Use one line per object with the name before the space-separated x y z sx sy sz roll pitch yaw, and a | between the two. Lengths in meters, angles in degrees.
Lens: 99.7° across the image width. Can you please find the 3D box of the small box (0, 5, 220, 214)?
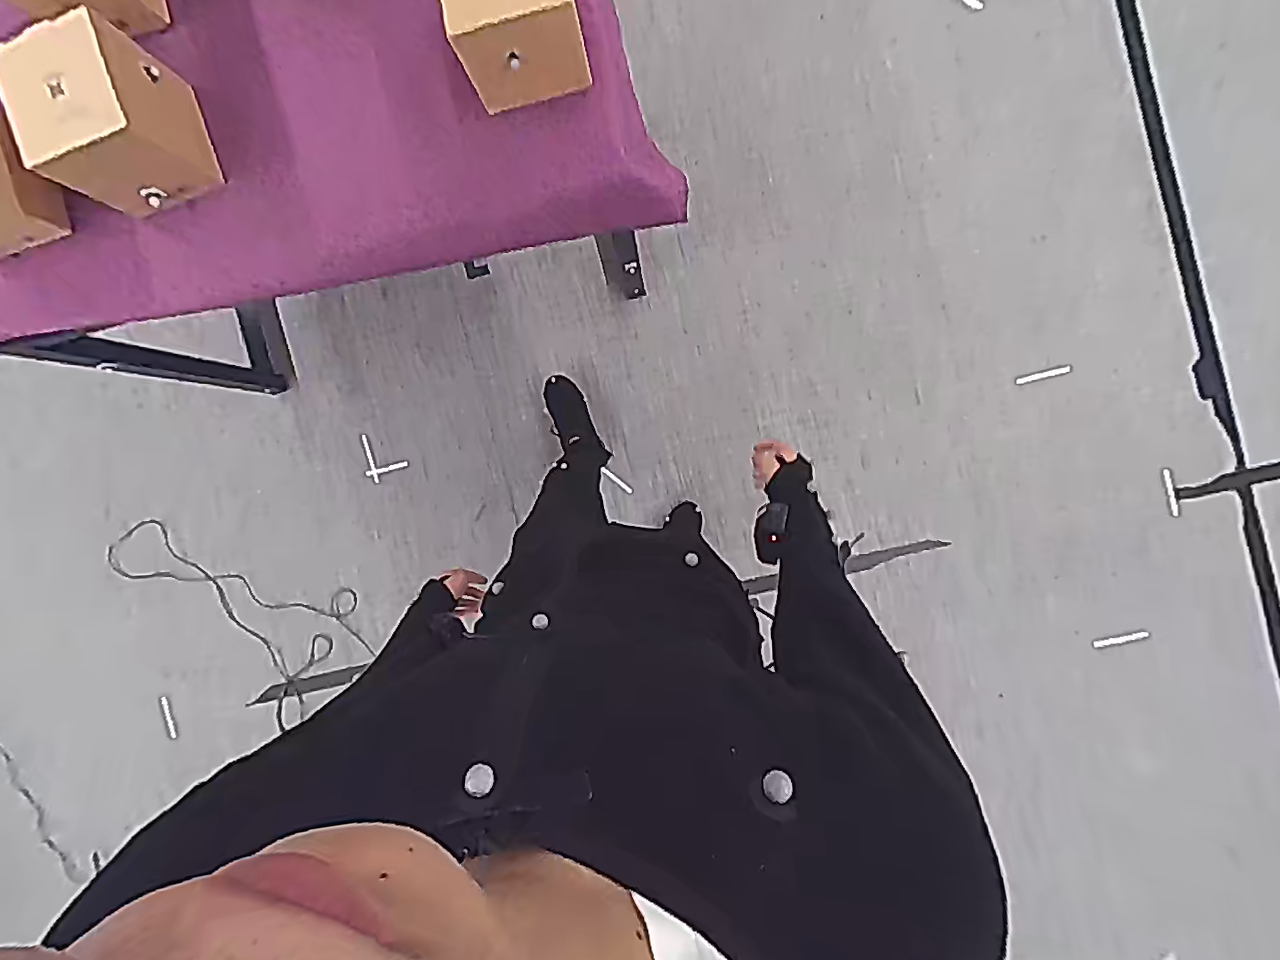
small box | -0.800 -0.546 0.824 0.168 0.176 0.179 -19 91 4

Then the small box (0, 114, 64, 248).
small box | -1.066 -0.481 0.838 0.168 0.176 0.179 -16 90 3

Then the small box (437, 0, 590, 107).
small box | -0.184 -0.685 0.783 0.179 0.176 0.168 -12 92 5

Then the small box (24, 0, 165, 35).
small box | -0.876 -0.819 0.811 0.168 0.176 0.179 -11 92 3
